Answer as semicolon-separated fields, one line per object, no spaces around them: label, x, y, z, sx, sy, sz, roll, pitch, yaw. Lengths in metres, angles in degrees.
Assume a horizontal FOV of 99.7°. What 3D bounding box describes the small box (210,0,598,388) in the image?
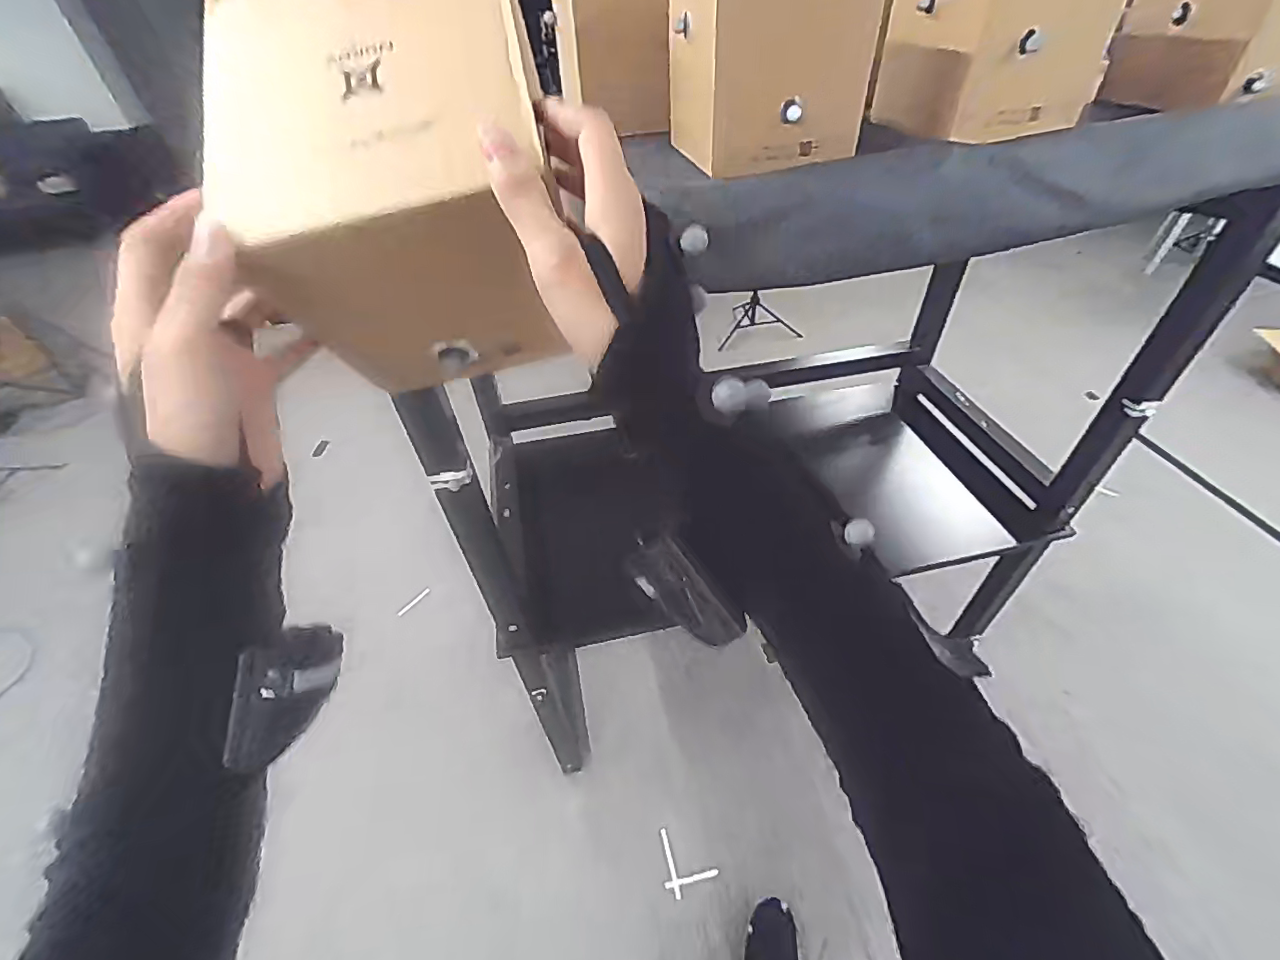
small box;-0.131;-0.186;0.353;0.168;0.176;0.179;-13;74;2

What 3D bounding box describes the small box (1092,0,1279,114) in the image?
small box;0.717;-0.553;0.651;0.168;0.176;0.179;-9;40;-5

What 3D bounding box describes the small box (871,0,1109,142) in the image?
small box;0.404;-0.511;0.636;0.168;0.176;0.179;-11;42;-7
